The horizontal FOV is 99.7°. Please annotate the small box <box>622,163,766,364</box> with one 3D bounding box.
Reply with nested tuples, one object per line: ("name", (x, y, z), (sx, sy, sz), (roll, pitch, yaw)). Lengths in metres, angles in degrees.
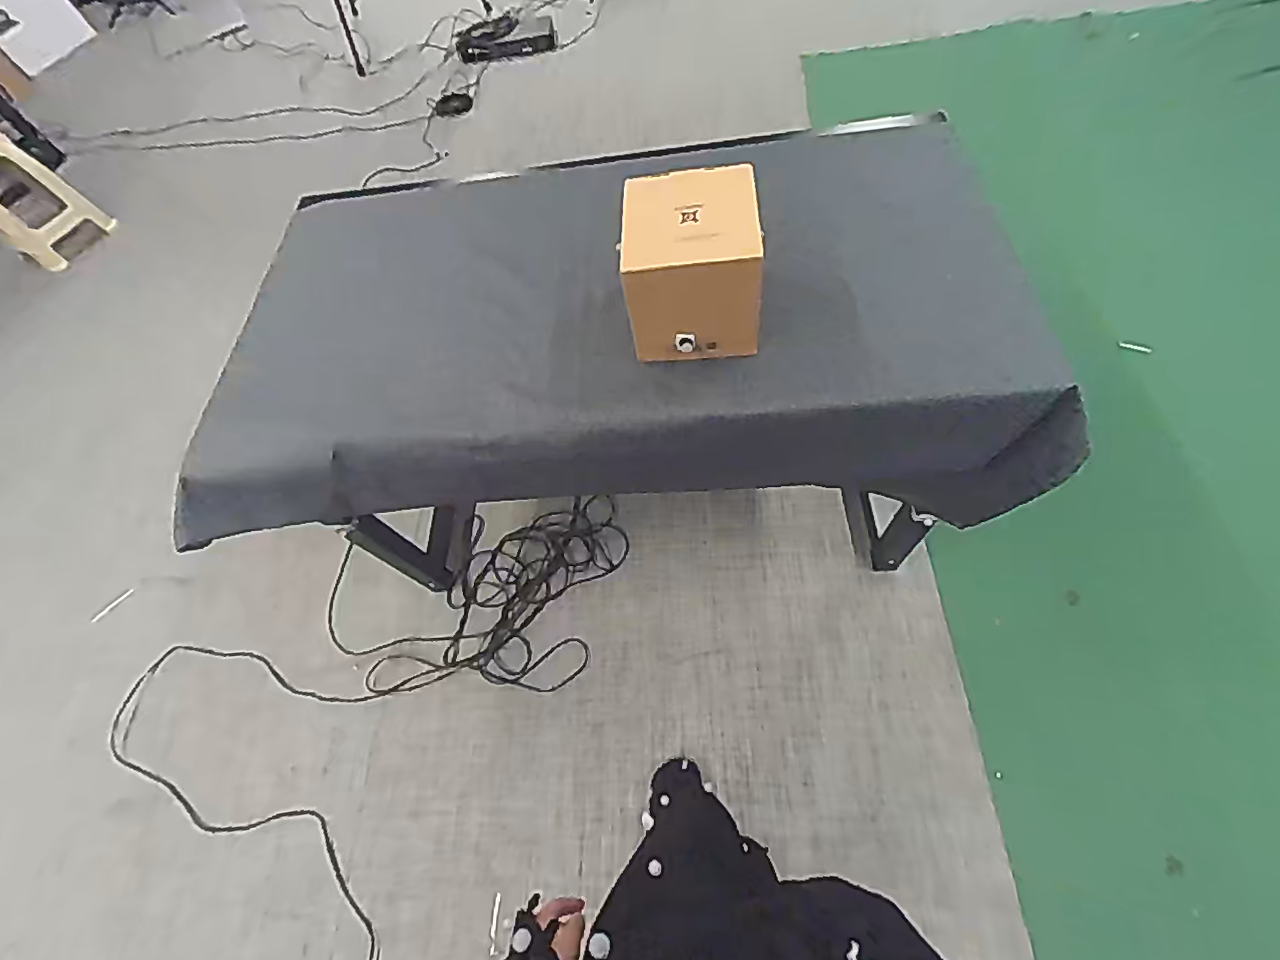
("small box", (0.072, -0.279, 0.717), (0.168, 0.176, 0.179), (-4, 62, 8))
